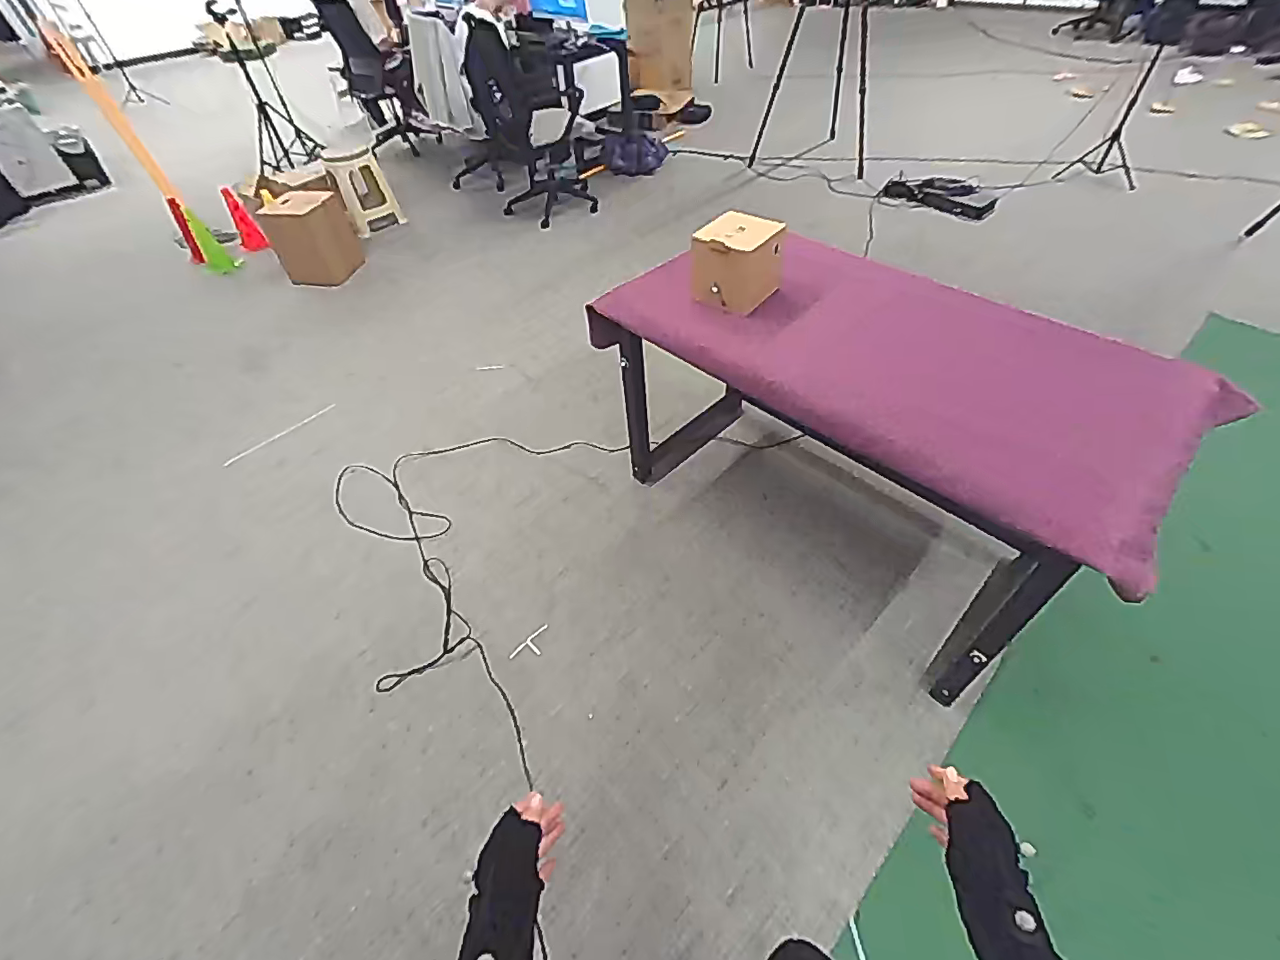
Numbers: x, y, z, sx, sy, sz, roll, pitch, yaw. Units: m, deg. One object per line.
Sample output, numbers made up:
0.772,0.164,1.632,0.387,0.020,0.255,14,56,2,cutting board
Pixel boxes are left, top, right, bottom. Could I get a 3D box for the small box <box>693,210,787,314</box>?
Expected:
0.244,-0.548,1.358,0.168,0.176,0.179,29,57,28,small box
